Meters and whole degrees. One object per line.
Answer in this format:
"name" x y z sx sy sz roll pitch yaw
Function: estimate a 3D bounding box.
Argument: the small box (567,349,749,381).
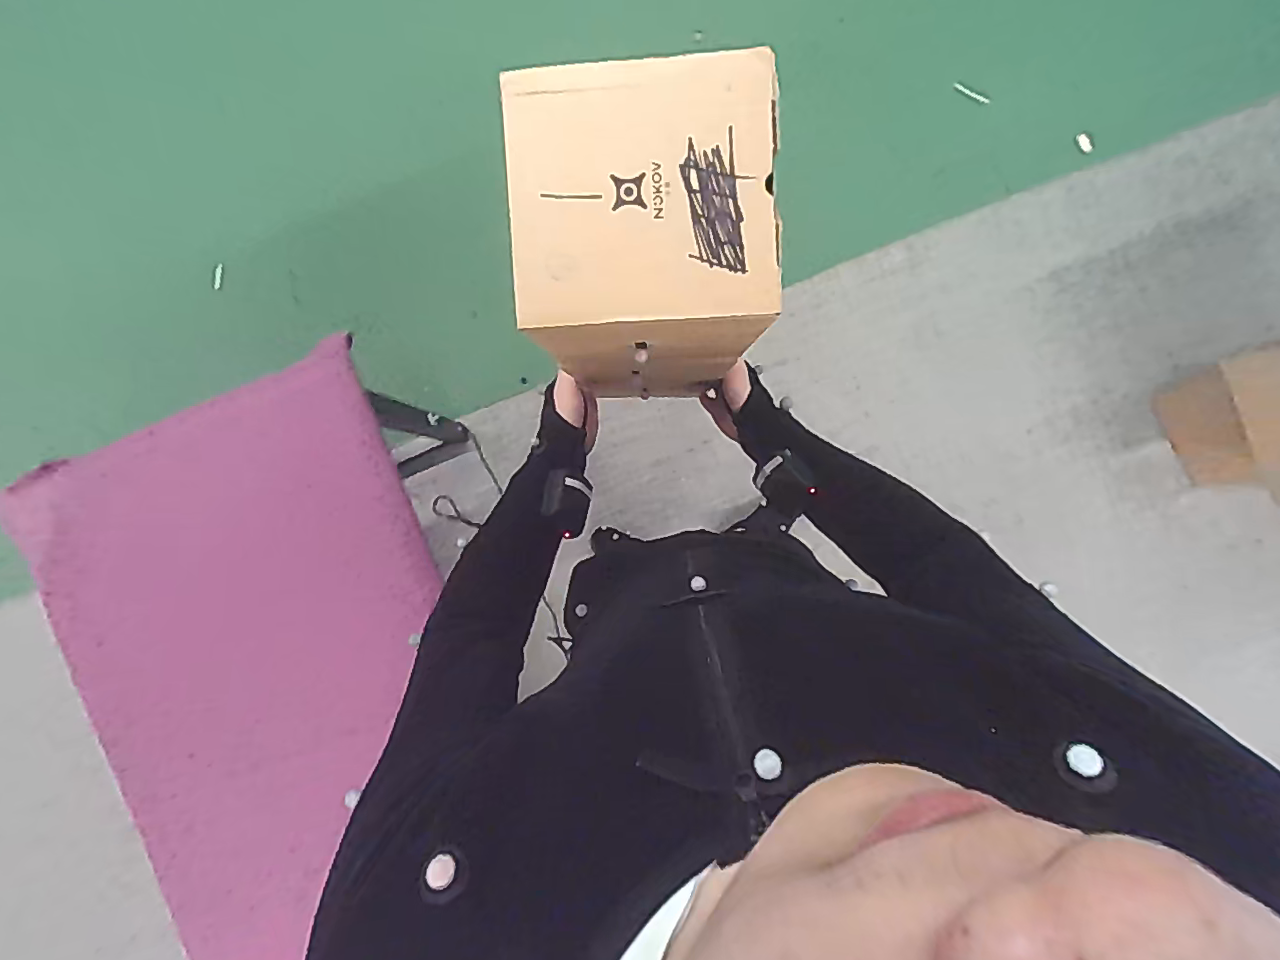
"small box" 0.021 -0.198 0.590 0.179 0.176 0.168 0 95 2

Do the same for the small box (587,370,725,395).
"small box" 0.024 -0.209 0.752 0.179 0.176 0.168 2 94 1

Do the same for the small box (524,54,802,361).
"small box" 0.017 -0.188 0.425 0.179 0.176 0.168 -2 94 2
